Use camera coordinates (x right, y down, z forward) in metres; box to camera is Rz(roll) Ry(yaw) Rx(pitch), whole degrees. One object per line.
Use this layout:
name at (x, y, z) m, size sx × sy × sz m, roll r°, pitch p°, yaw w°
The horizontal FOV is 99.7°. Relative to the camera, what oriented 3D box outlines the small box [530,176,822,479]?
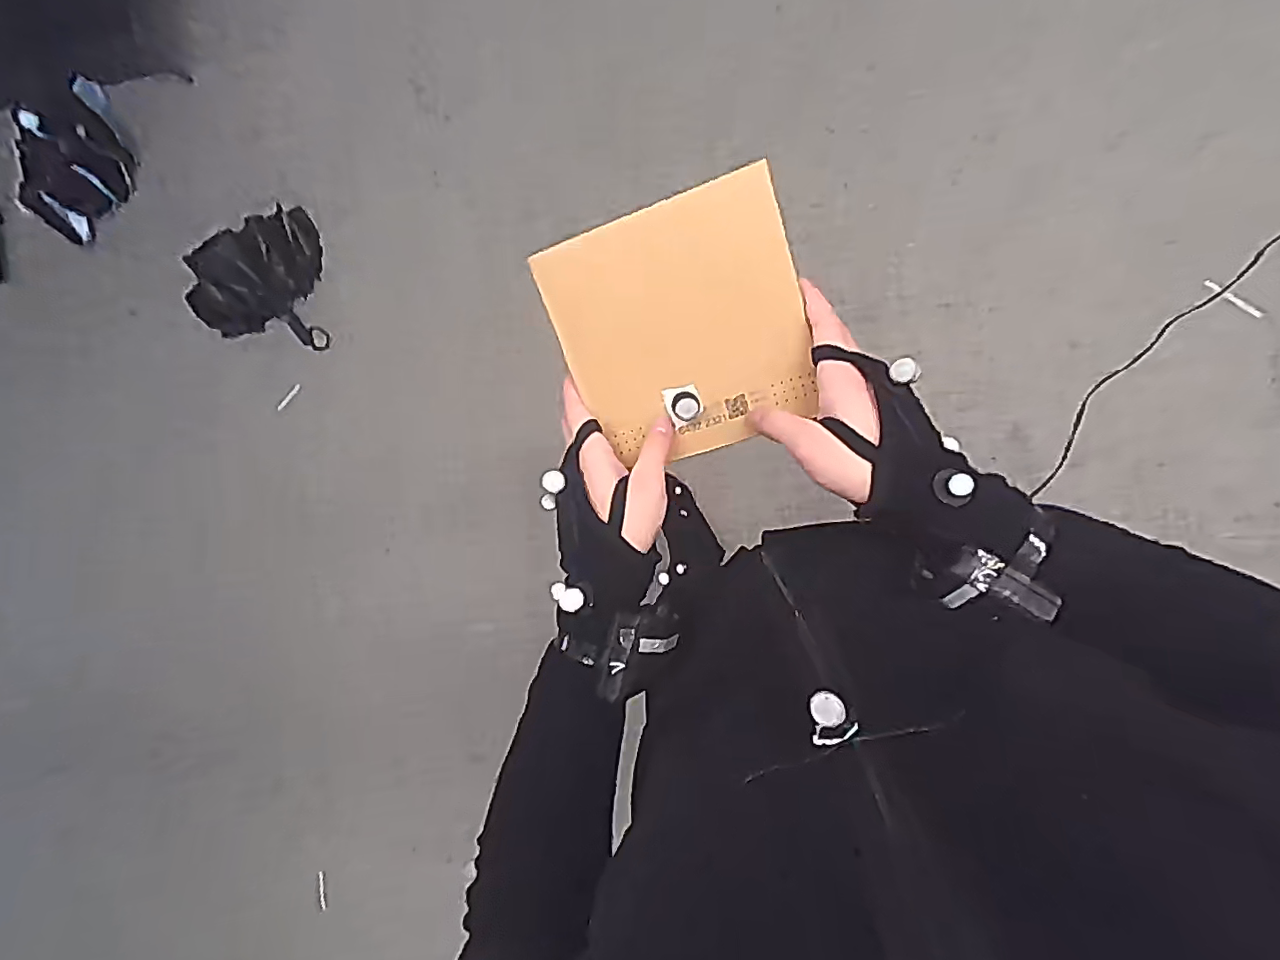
small box at (0.035, -0.114, 0.451) m, size 0.168 × 0.179 × 0.176 m, roll -18°, pitch 104°, yaw 11°
